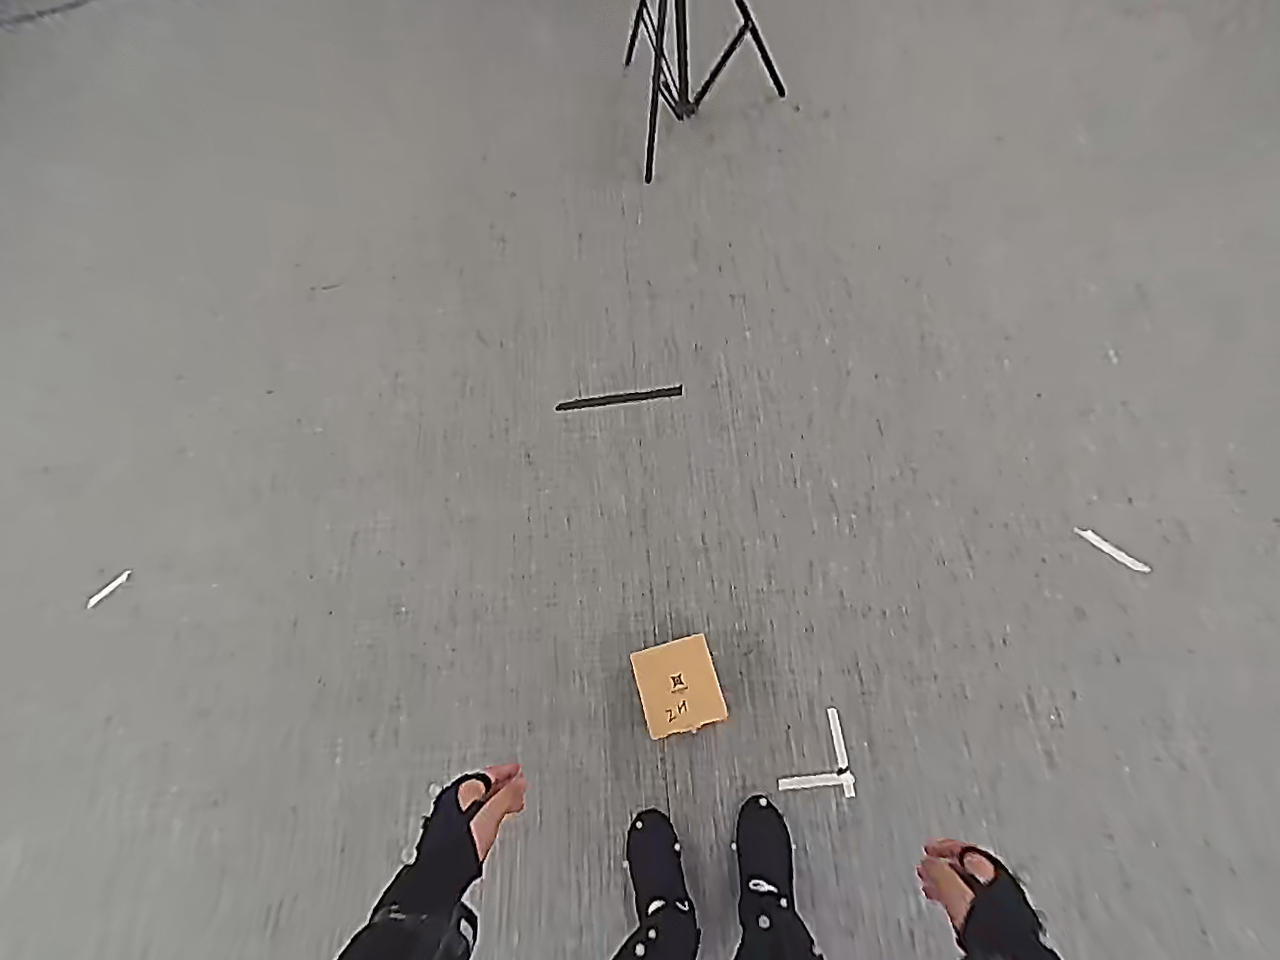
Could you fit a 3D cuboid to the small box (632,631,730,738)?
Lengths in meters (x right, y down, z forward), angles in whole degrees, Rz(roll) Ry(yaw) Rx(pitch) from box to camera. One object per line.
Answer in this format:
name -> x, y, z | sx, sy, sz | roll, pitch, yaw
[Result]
small box -> 0.088, 0.445, 1.181 | 0.168, 0.176, 0.179 | -17, 69, 1
